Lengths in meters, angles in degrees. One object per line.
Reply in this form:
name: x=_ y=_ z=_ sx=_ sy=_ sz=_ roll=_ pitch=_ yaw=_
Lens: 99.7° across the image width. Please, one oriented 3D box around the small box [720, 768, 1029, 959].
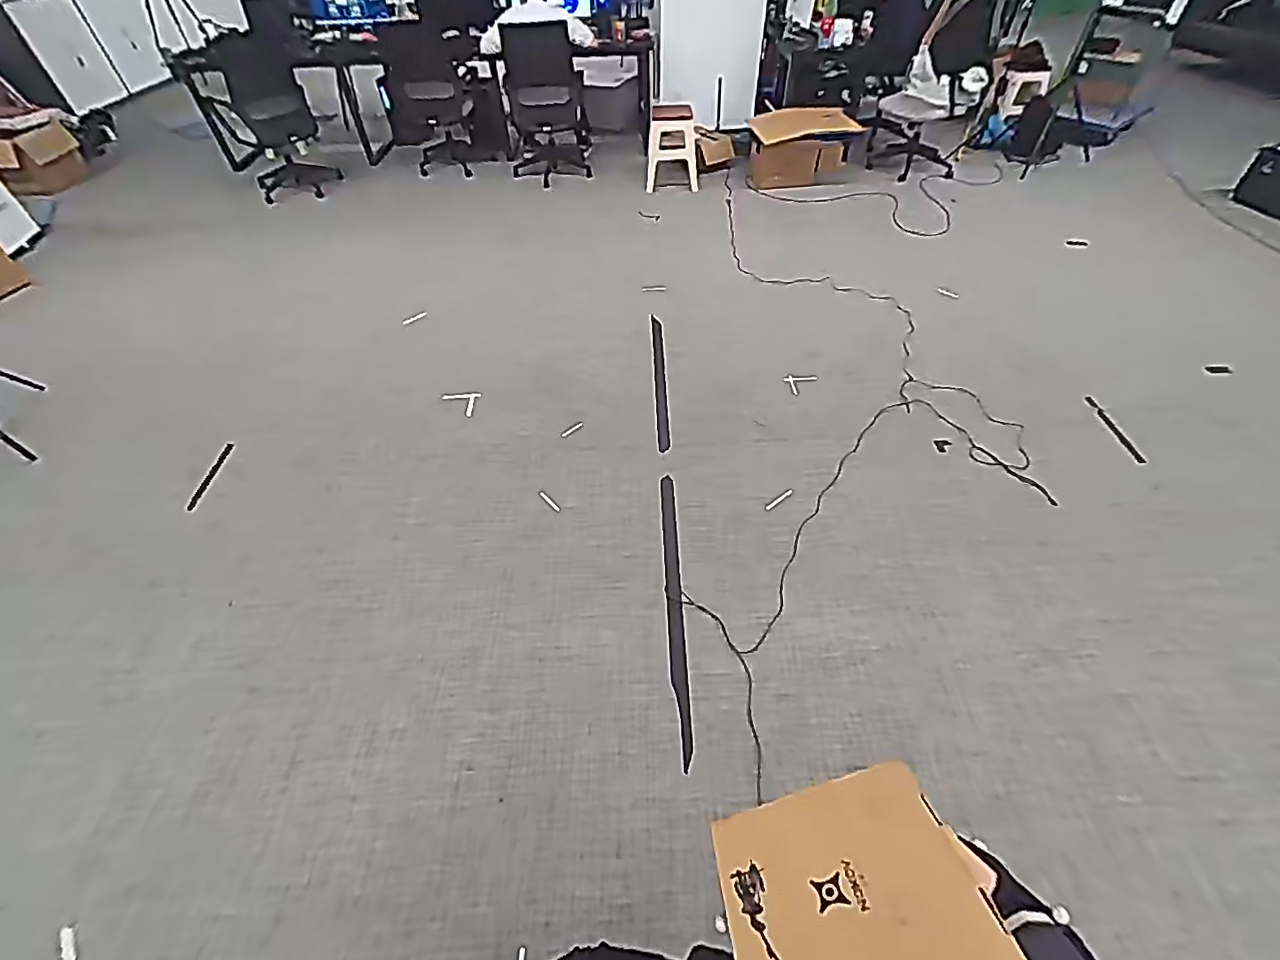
small box: x=0.180 y=0.373 z=0.421 sx=0.179 sy=0.176 sz=0.168 roll=-20 pitch=16 yaw=4
